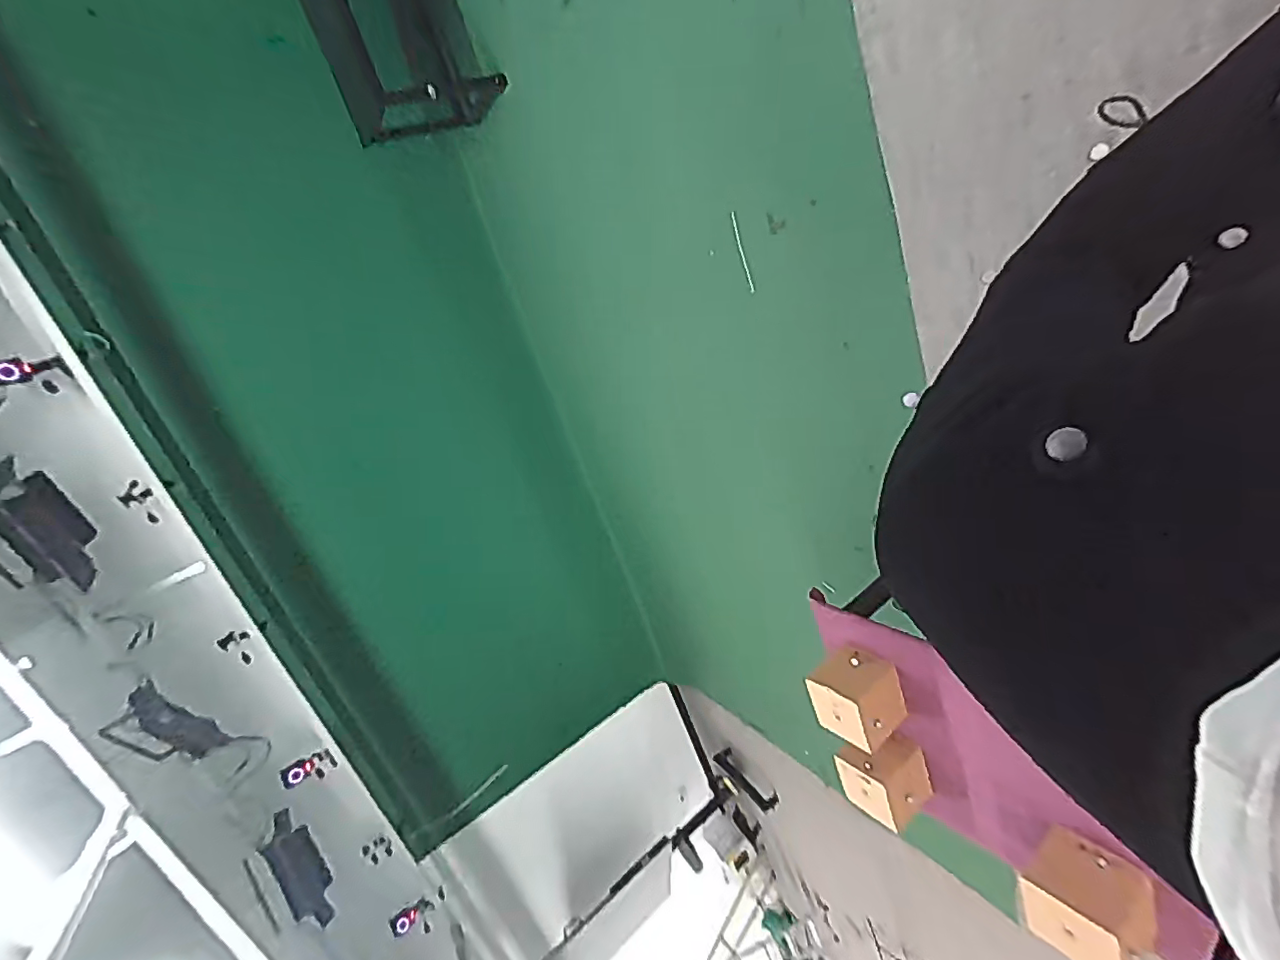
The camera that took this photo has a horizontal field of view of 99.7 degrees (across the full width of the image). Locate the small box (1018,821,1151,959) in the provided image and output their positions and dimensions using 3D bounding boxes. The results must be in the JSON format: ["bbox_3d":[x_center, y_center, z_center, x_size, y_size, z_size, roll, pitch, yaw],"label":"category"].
[{"bbox_3d":[0.928,0.873,1.127,0.168,0.176,0.179,10,124,58],"label":"small box"}]

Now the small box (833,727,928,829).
[{"bbox_3d":[0.684,0.821,1.528,0.168,0.176,0.179,8,123,59],"label":"small box"}]

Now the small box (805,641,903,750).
[{"bbox_3d":[0.581,0.573,1.457,0.168,0.176,0.179,10,125,57],"label":"small box"}]
